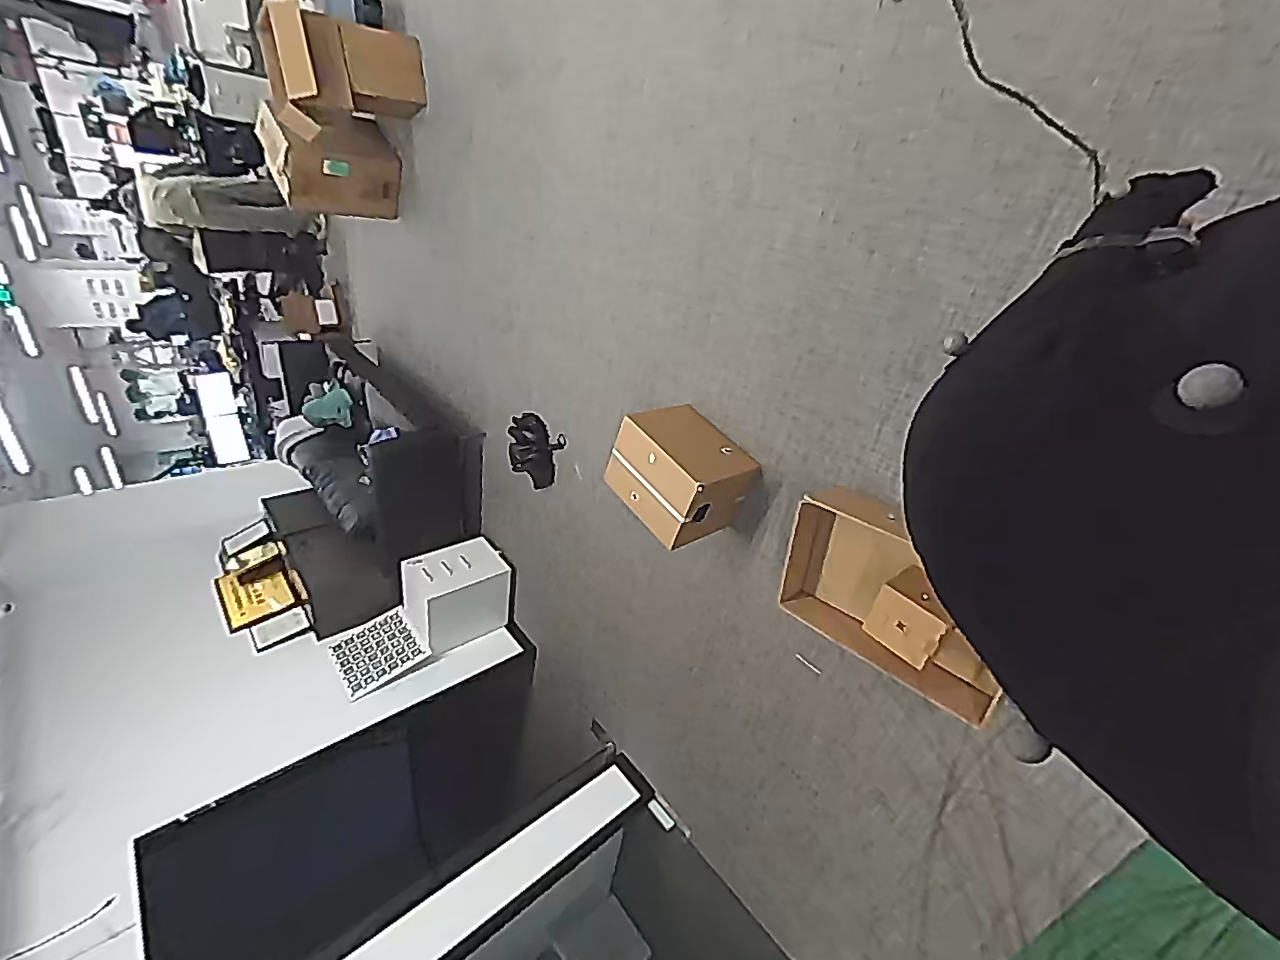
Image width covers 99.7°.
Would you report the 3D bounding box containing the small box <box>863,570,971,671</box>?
[{"bbox_3d":[0.739,0.365,1.442,0.179,0.176,0.168,37,128,39],"label":"small box"}]
